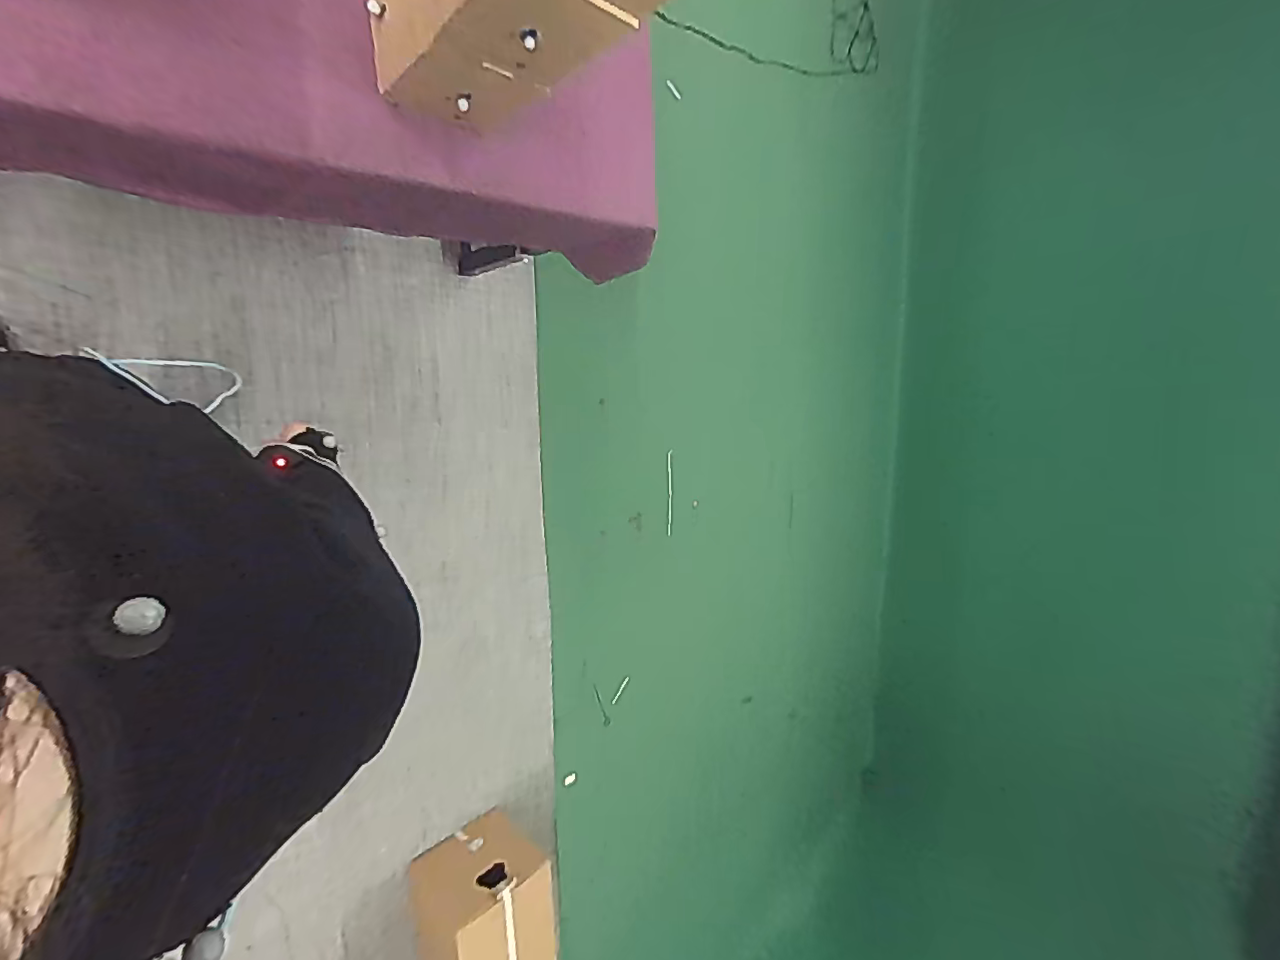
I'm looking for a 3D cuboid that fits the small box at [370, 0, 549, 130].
[{"bbox_3d":[-0.238,-0.595,0.708,0.168,0.176,0.179,-13,106,-44],"label":"small box"}]

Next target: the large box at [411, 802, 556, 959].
[{"bbox_3d":[-0.492,1.347,1.711,0.320,0.320,0.408,-12,106,-44],"label":"large box"}]

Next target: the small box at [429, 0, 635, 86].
[{"bbox_3d":[-0.123,-0.577,0.590,0.168,0.176,0.179,-13,105,-44],"label":"small box"}]
